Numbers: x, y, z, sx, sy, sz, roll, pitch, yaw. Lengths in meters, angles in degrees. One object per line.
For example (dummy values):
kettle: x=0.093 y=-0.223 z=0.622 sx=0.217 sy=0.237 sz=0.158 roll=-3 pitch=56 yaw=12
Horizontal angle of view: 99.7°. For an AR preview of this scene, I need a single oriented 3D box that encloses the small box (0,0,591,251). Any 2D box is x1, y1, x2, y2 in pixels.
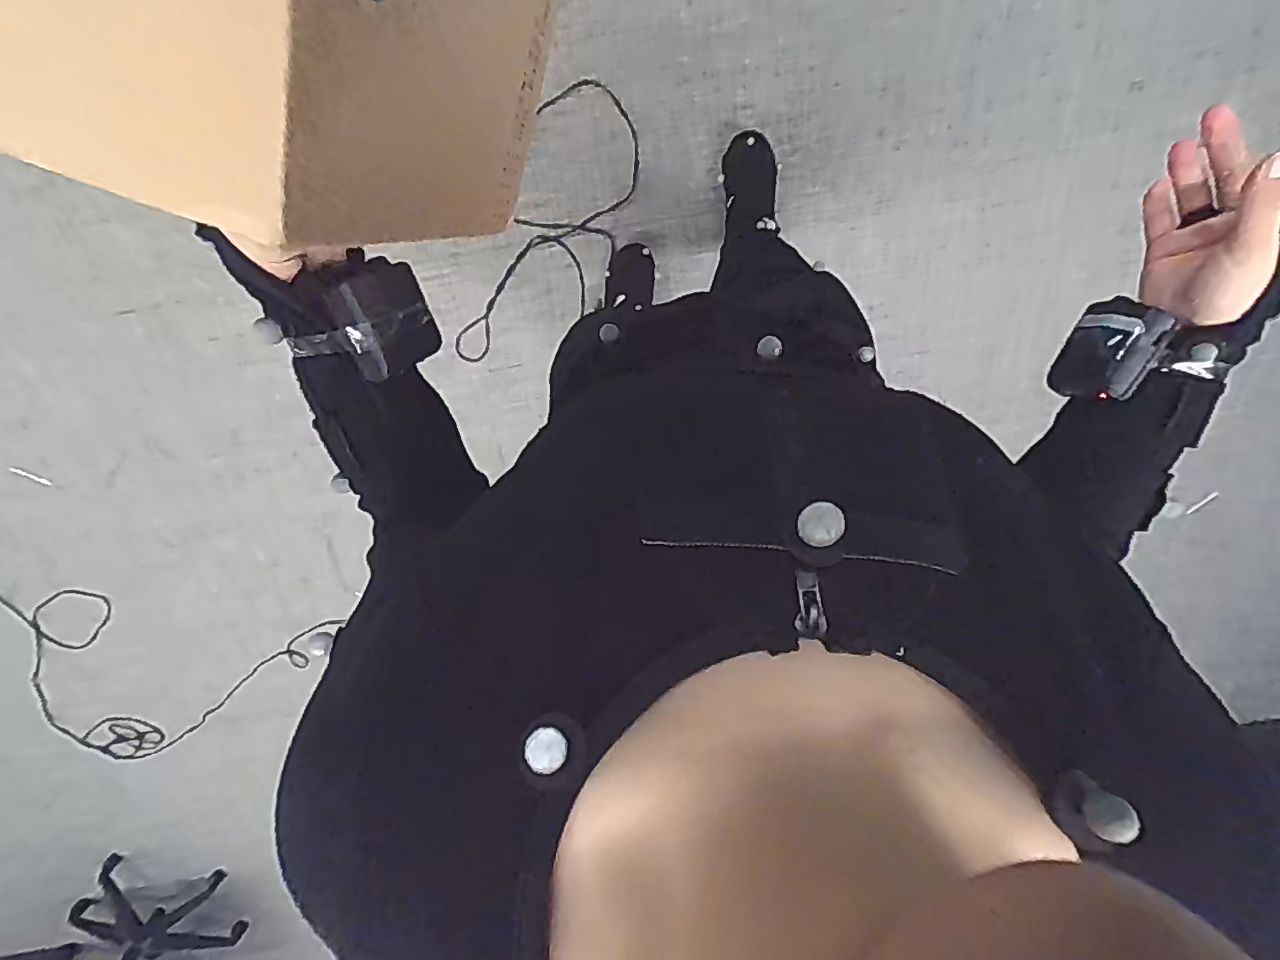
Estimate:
small box: x=-0.118 y=-0.182 z=0.163 sx=0.179 sy=0.176 sz=0.168 roll=19 pitch=116 yaw=-3
